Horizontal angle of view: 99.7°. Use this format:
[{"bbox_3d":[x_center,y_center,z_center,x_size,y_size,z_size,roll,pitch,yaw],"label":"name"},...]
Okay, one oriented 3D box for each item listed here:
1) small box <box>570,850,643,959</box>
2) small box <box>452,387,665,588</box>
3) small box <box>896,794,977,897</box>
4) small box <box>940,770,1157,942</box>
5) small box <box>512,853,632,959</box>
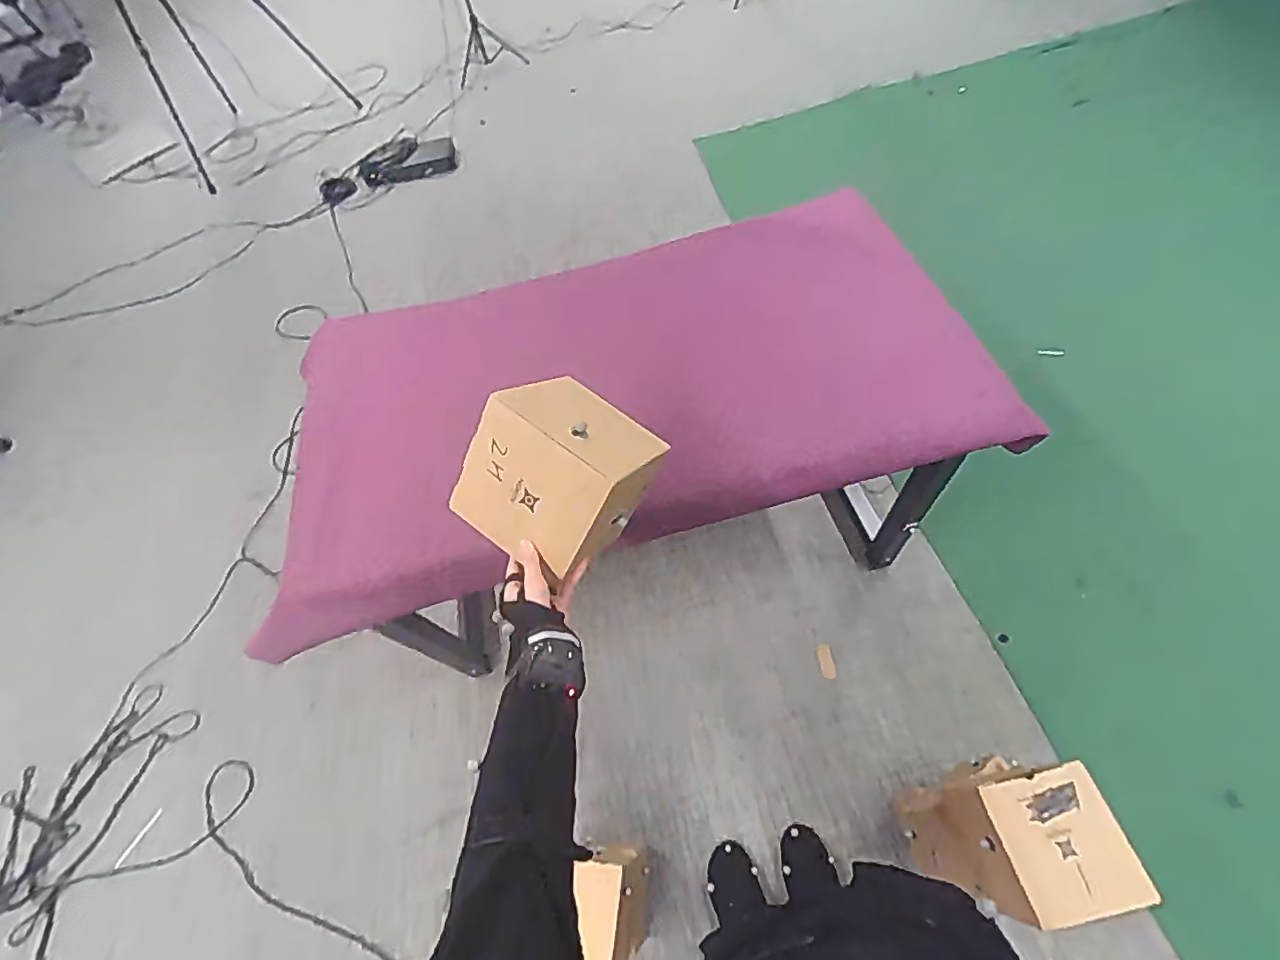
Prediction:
[{"bbox_3d":[-0.086,0.881,1.123,0.168,0.176,0.179,-3,60,8],"label":"small box"},{"bbox_3d":[-0.094,-0.004,0.683,0.179,0.168,0.176,37,25,11],"label":"small box"},{"bbox_3d":[0.642,0.736,1.100,0.179,0.176,0.168,-7,59,5],"label":"small box"},{"bbox_3d":[0.598,0.561,0.825,0.168,0.176,0.179,-14,59,0],"label":"small box"},{"bbox_3d":[-0.115,0.802,0.985,0.168,0.176,0.179,2,59,11],"label":"small box"}]
